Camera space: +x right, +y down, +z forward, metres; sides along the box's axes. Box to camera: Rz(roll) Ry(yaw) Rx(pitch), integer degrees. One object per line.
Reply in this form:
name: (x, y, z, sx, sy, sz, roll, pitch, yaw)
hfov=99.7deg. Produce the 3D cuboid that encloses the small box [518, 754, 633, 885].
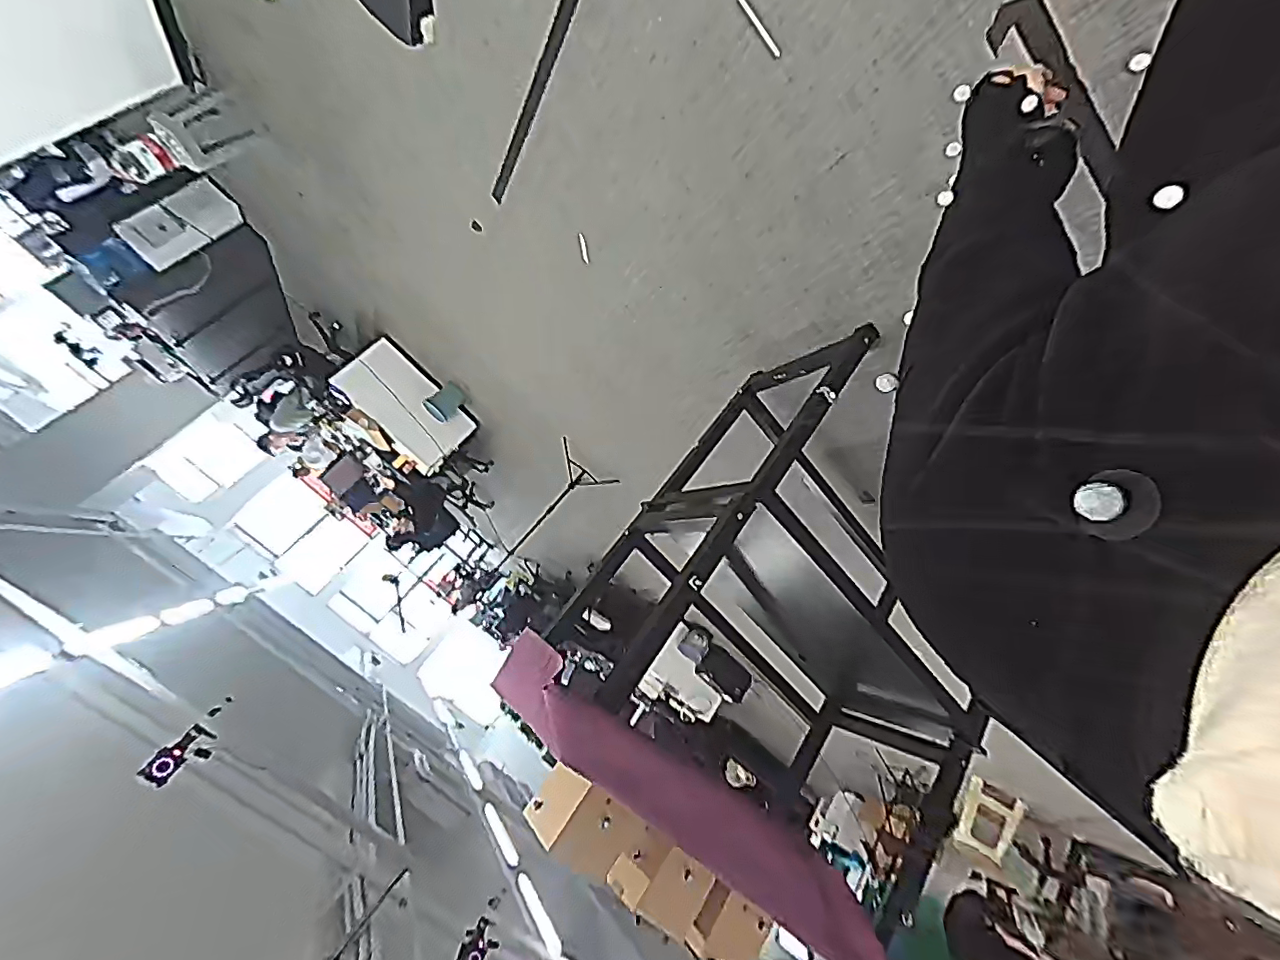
small box: (-0.146, 0.767, 1.247, 0.168, 0.176, 0.179, 47, 157, -19)

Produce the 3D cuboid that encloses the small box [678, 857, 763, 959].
small box: (0.190, 1.115, 1.385, 0.168, 0.176, 0.179, 45, 158, -13)

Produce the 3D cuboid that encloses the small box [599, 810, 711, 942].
small box: (0.037, 0.953, 1.318, 0.179, 0.176, 0.168, 48, 156, -19)
